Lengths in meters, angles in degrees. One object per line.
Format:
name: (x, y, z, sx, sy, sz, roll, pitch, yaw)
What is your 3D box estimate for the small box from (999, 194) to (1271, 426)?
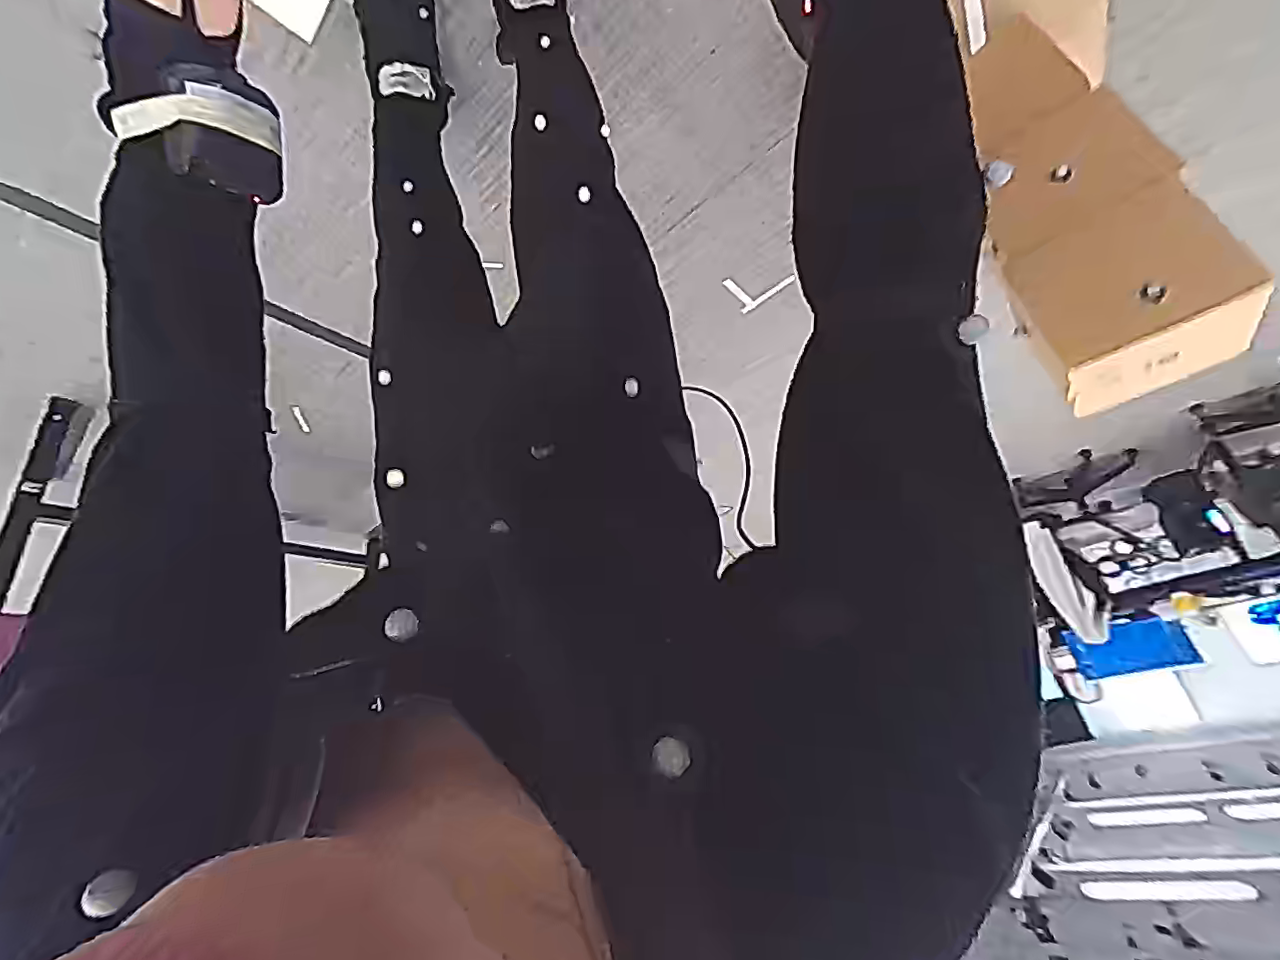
small box: (0.578, -0.198, 0.656, 0.179, 0.176, 0.168, -28, 149, 31)
